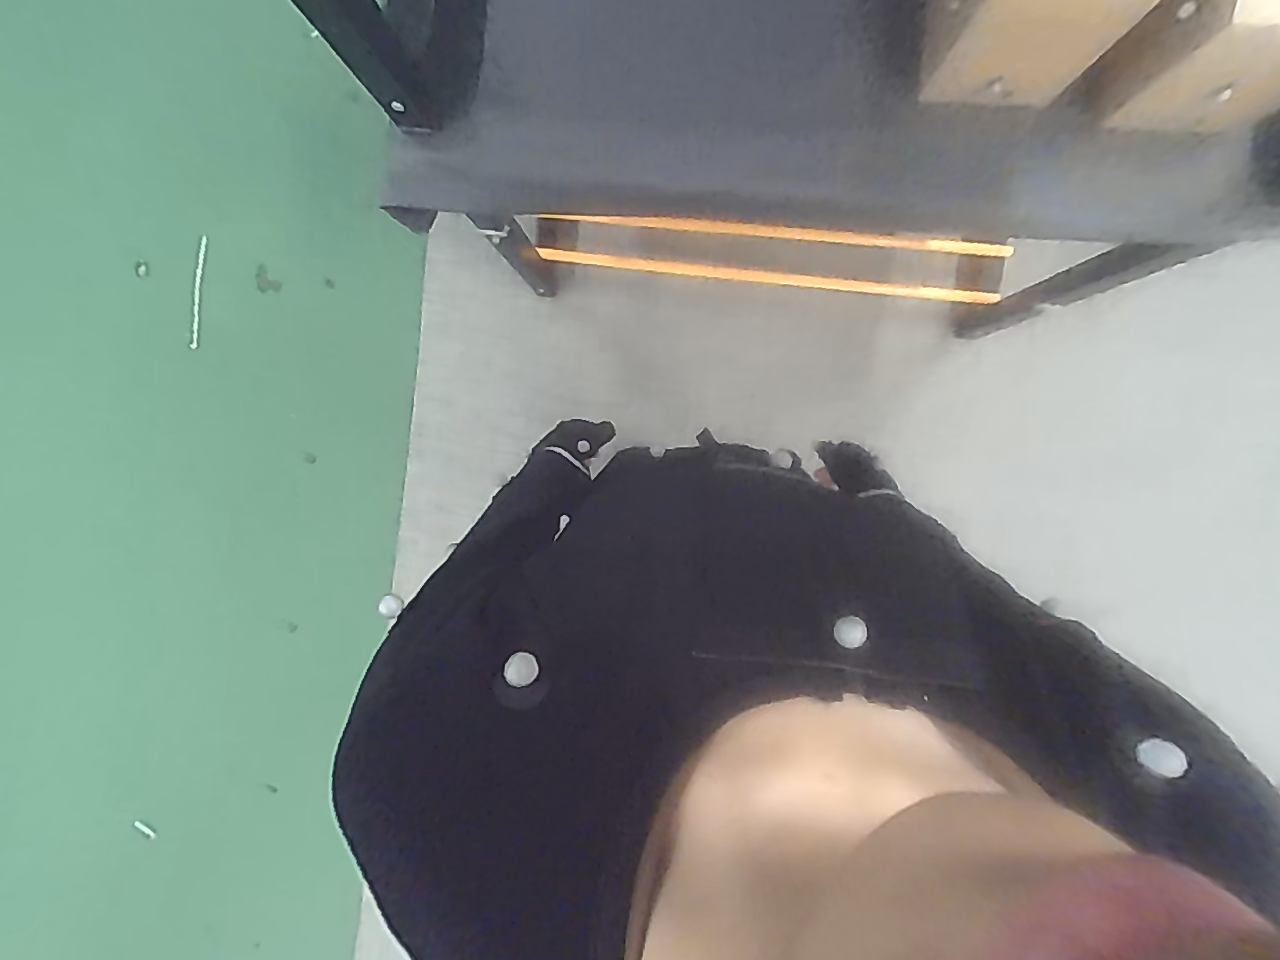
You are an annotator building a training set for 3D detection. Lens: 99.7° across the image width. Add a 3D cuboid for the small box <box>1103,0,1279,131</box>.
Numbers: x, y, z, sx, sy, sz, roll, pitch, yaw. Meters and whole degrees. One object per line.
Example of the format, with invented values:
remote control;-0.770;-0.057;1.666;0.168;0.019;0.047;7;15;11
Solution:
small box;0.671;-0.527;0.606;0.168;0.176;0.179;5;92;4
